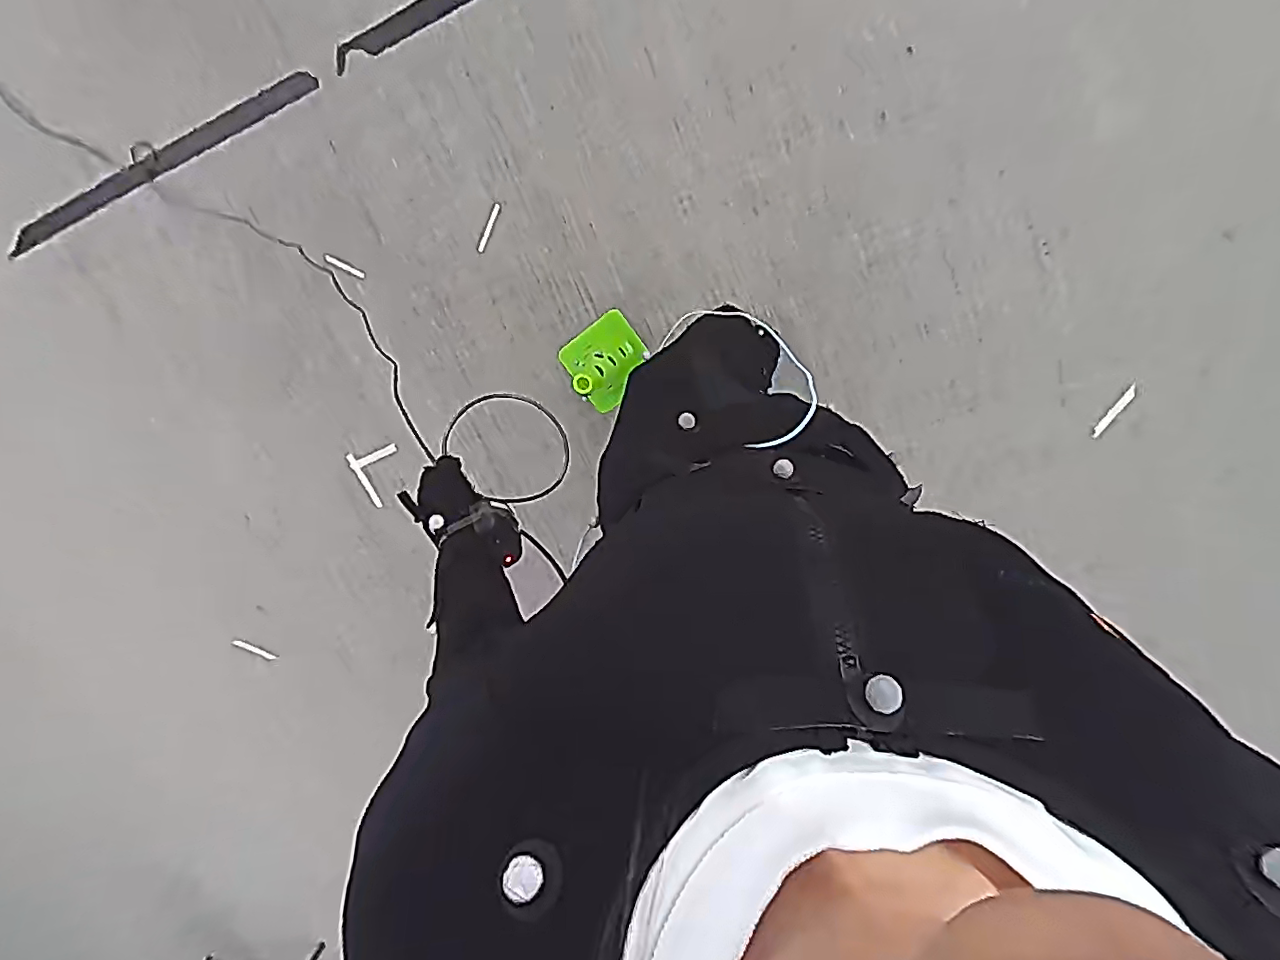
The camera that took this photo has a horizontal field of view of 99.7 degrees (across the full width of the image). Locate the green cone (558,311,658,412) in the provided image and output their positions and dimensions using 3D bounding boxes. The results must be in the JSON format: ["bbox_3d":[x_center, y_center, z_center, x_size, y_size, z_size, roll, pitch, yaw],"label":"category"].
[{"bbox_3d":[-0.102,-0.246,1.222,0.202,0.368,0.200,-35,101,17],"label":"green cone"}]
